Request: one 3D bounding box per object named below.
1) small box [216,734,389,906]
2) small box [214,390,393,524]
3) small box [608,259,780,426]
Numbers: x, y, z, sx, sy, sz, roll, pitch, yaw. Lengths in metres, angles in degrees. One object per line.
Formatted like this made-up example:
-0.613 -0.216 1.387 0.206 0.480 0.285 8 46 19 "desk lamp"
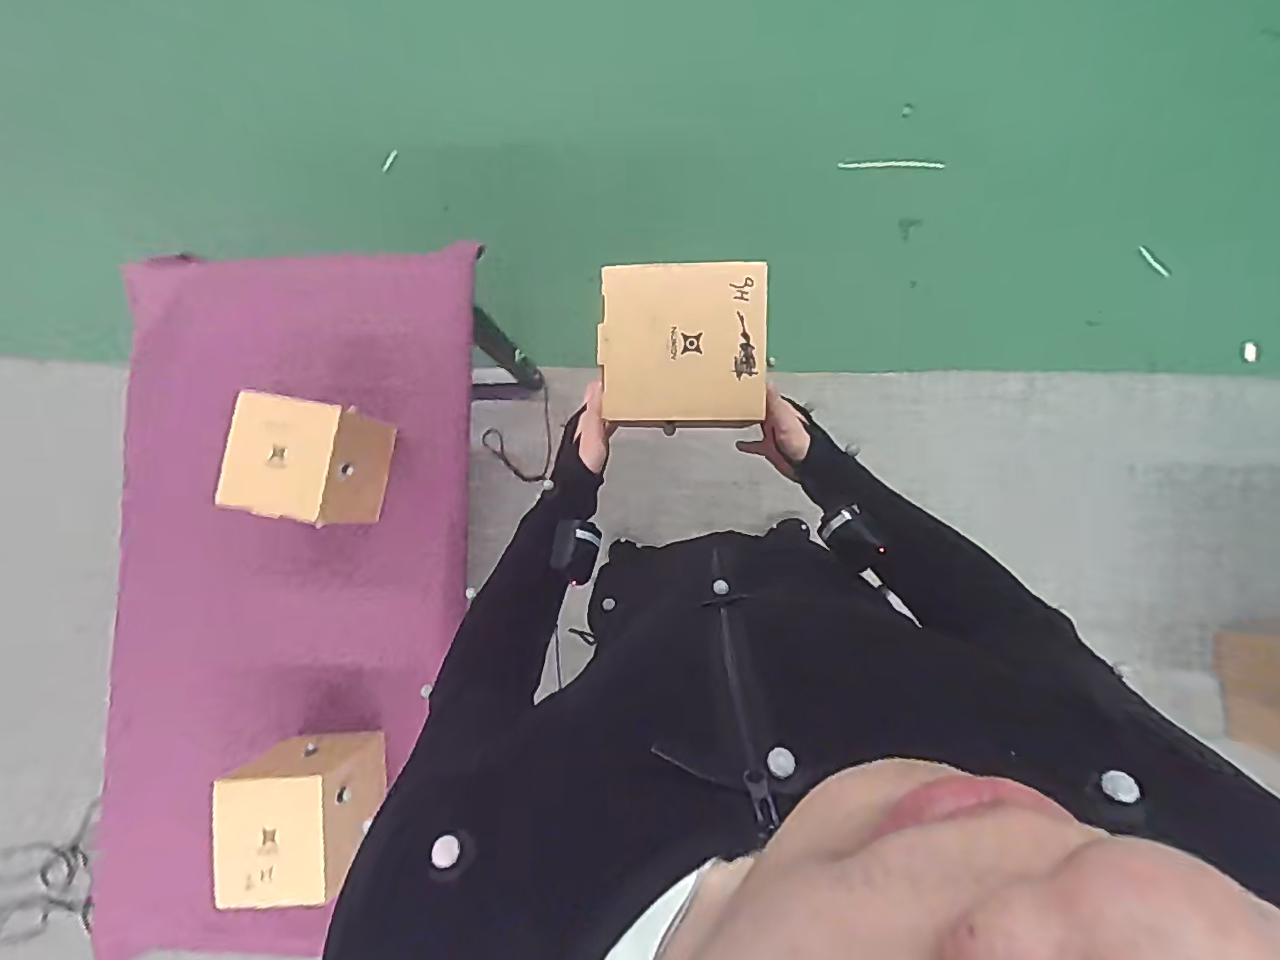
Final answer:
-0.514 0.513 0.842 0.168 0.176 0.179 -5 87 4 "small box"
-0.529 -0.031 0.875 0.168 0.176 0.179 10 87 4 "small box"
0.063 -0.152 0.644 0.179 0.176 0.168 2 94 5 "small box"
